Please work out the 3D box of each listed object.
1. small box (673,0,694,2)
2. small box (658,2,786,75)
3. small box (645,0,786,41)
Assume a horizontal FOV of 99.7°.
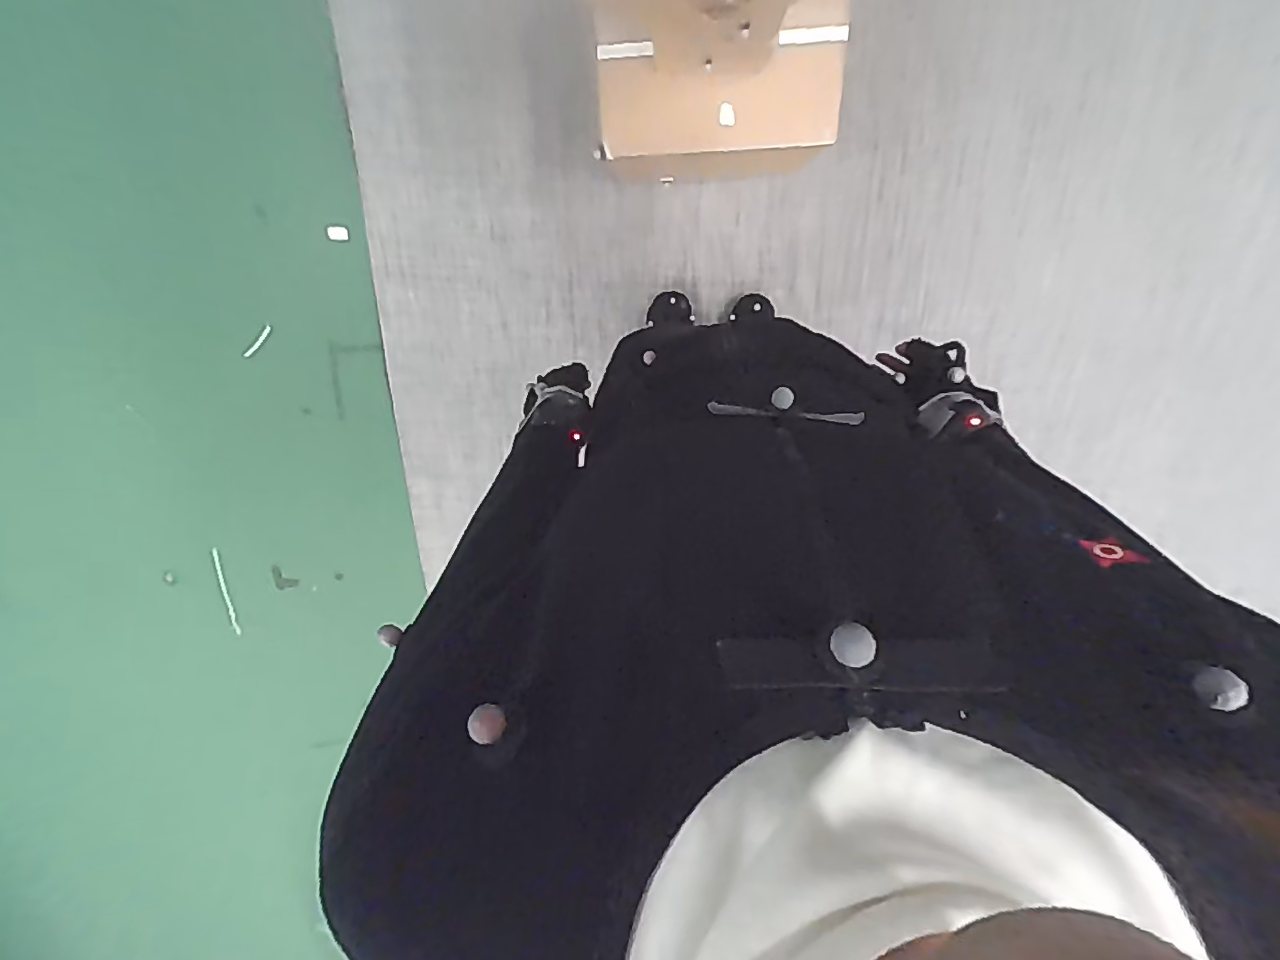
[{"bbox_3d":[0.086,-0.575,0.499,0.168,0.176,0.179,1,117,4],"label":"small box"},{"bbox_3d":[0.113,-0.715,0.791,0.179,0.176,0.168,-1,117,5],"label":"small box"},{"bbox_3d":[0.093,-0.650,0.644,0.168,0.176,0.179,1,115,3],"label":"small box"}]
